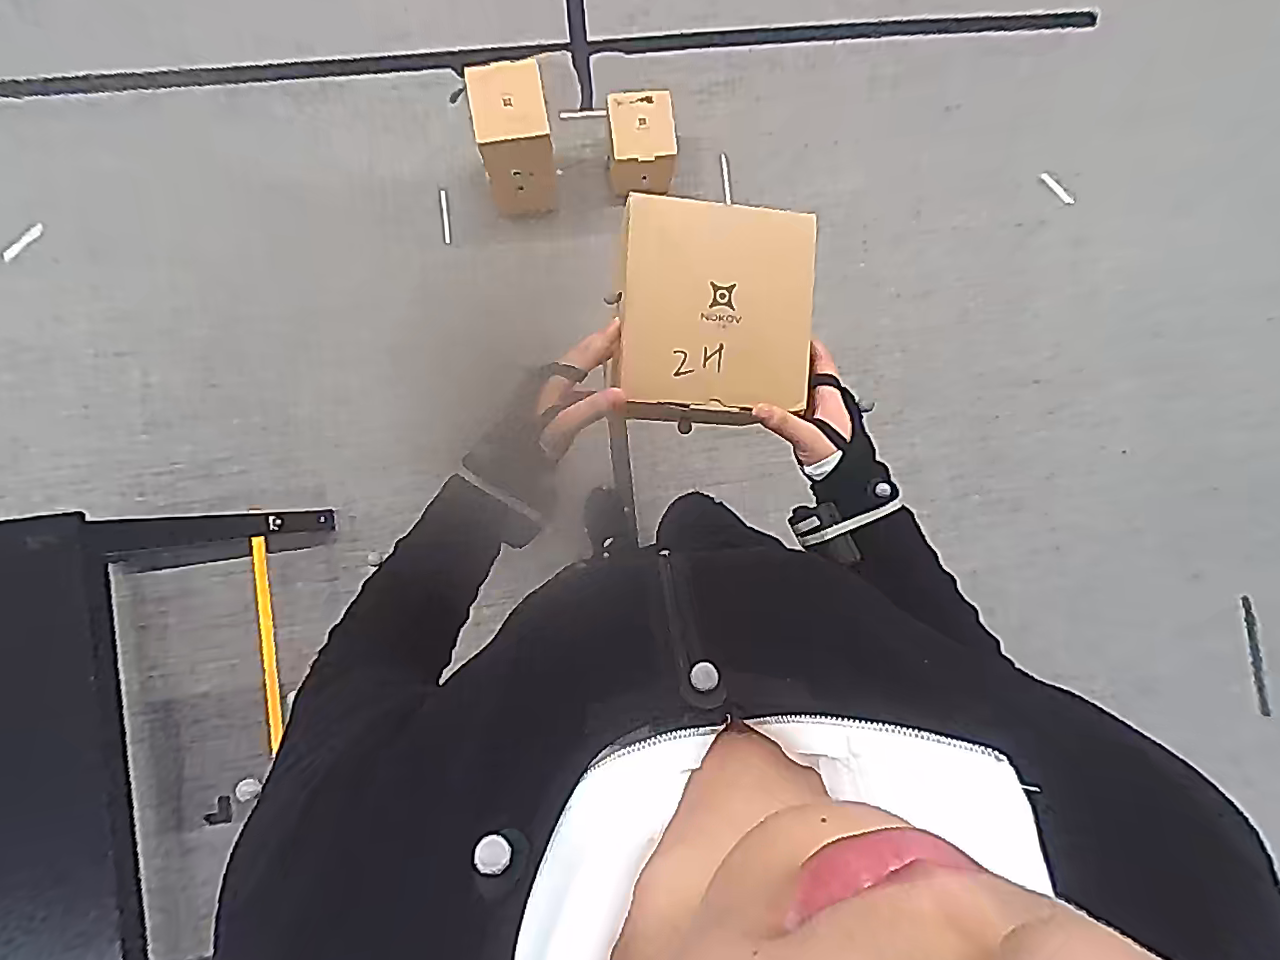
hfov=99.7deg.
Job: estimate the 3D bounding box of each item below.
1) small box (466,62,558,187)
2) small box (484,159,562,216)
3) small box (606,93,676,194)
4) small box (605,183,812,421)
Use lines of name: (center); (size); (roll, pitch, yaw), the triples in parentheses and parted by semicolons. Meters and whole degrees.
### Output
small box: (-0.296, -0.830, 1.276); (0.168, 0.176, 0.179); (-11, 90, -3)
small box: (-0.311, -0.827, 1.438); (0.179, 0.176, 0.168); (-9, 89, -5)
small box: (0.000, -0.900, 1.465); (0.168, 0.176, 0.179); (-7, 89, -4)
small box: (0.054, -0.158, 0.540); (0.168, 0.176, 0.179); (3, 91, -7)
